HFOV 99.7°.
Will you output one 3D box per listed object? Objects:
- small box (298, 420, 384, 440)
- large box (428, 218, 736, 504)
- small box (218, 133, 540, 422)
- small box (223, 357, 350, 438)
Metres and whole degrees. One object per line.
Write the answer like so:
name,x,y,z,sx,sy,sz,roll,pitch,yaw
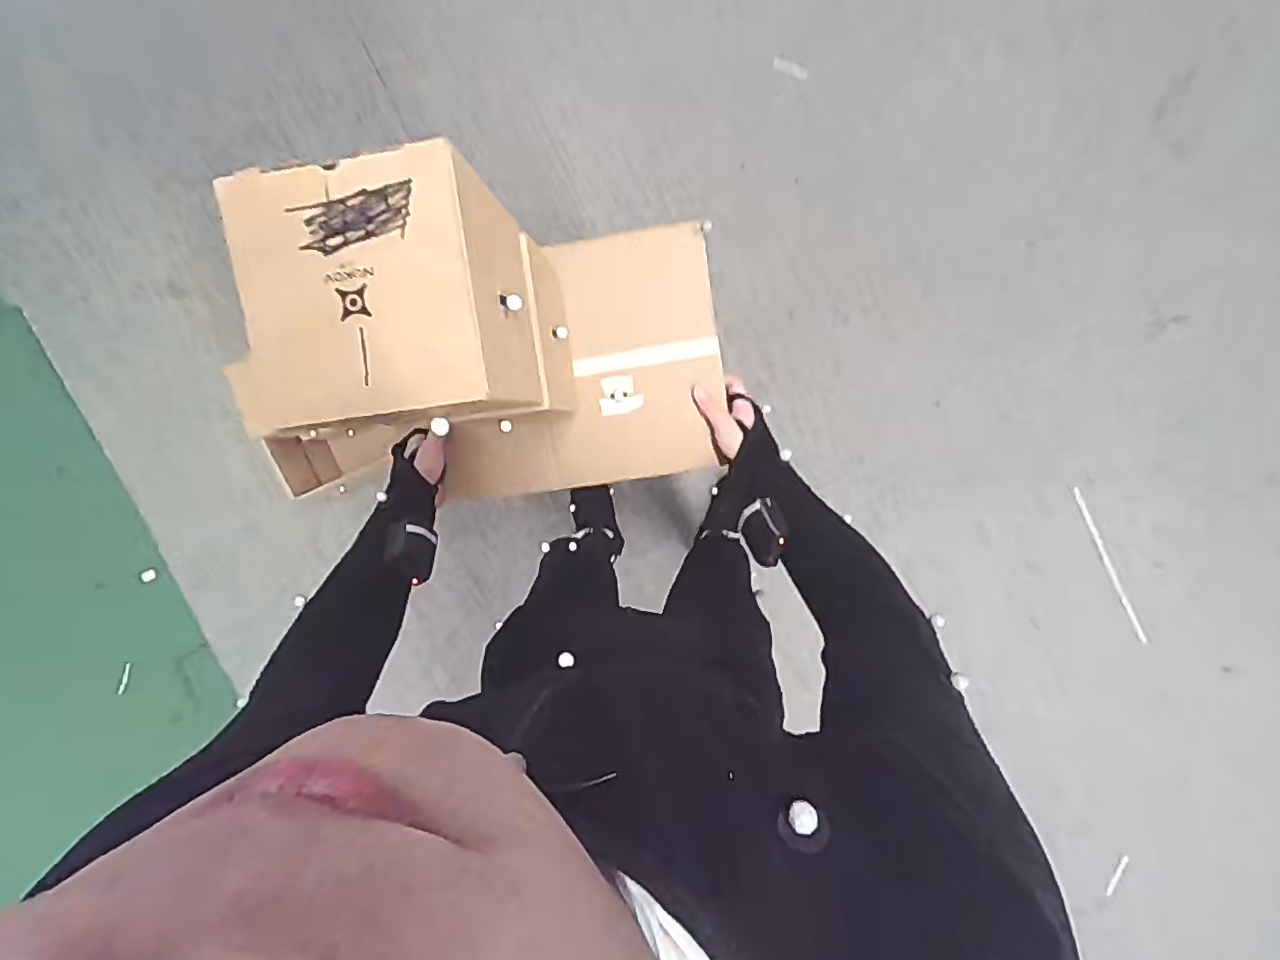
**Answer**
small box,-0.821,-0.217,1.452,0.168,0.176,0.179,-21,96,3
large box,-0.087,-0.164,0.850,0.408,0.320,0.320,-9,97,3
small box,-0.189,-0.142,0.445,0.168,0.176,0.179,-6,97,4
small box,-0.828,-0.205,1.289,0.168,0.176,0.179,-17,96,4
